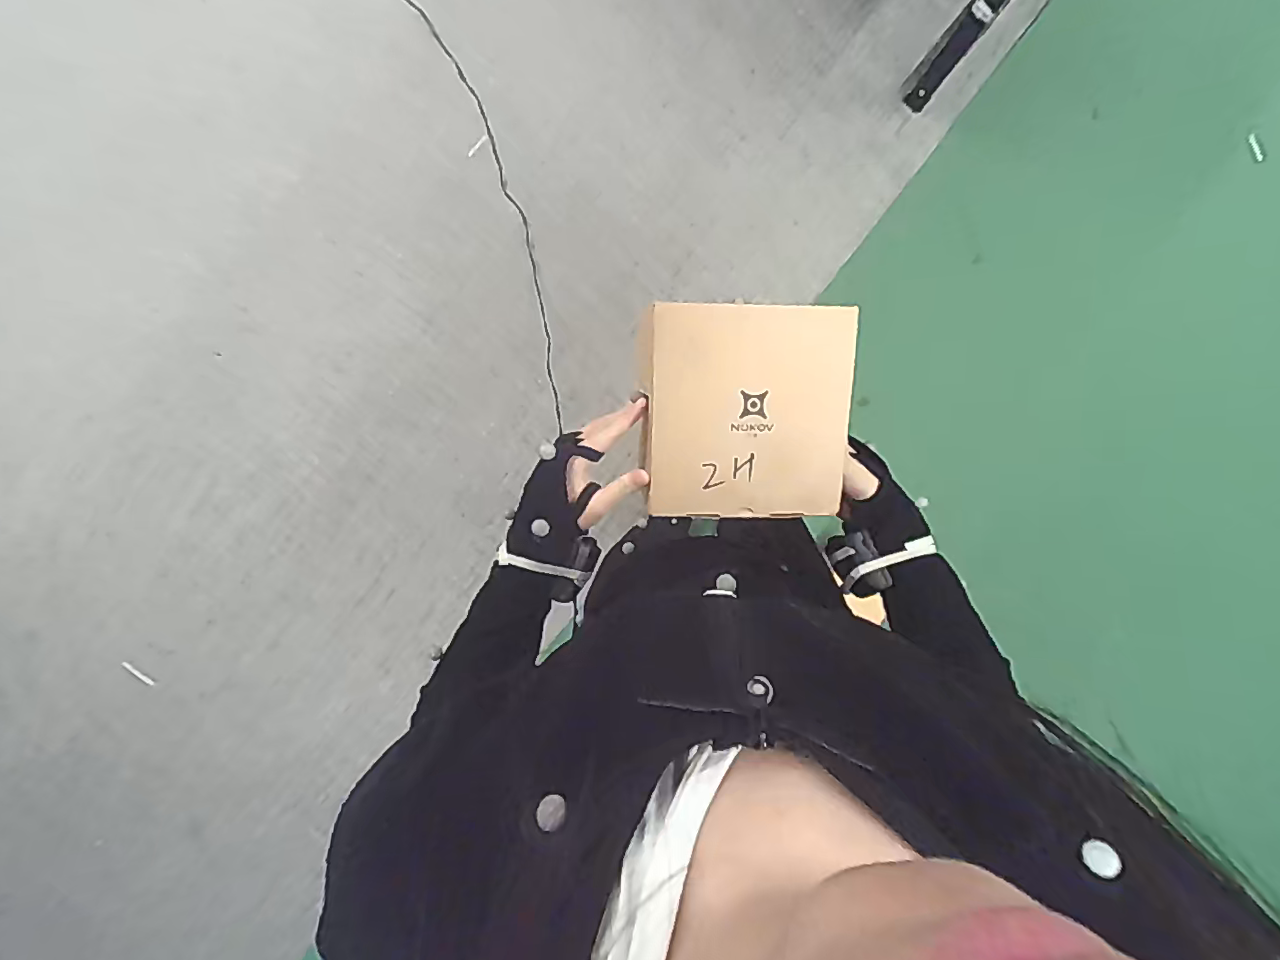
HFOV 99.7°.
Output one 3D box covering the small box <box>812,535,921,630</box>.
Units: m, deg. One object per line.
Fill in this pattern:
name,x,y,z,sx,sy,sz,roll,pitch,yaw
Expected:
small box,0.585,0.259,1.427,0.179,0.176,0.168,38,92,-1
